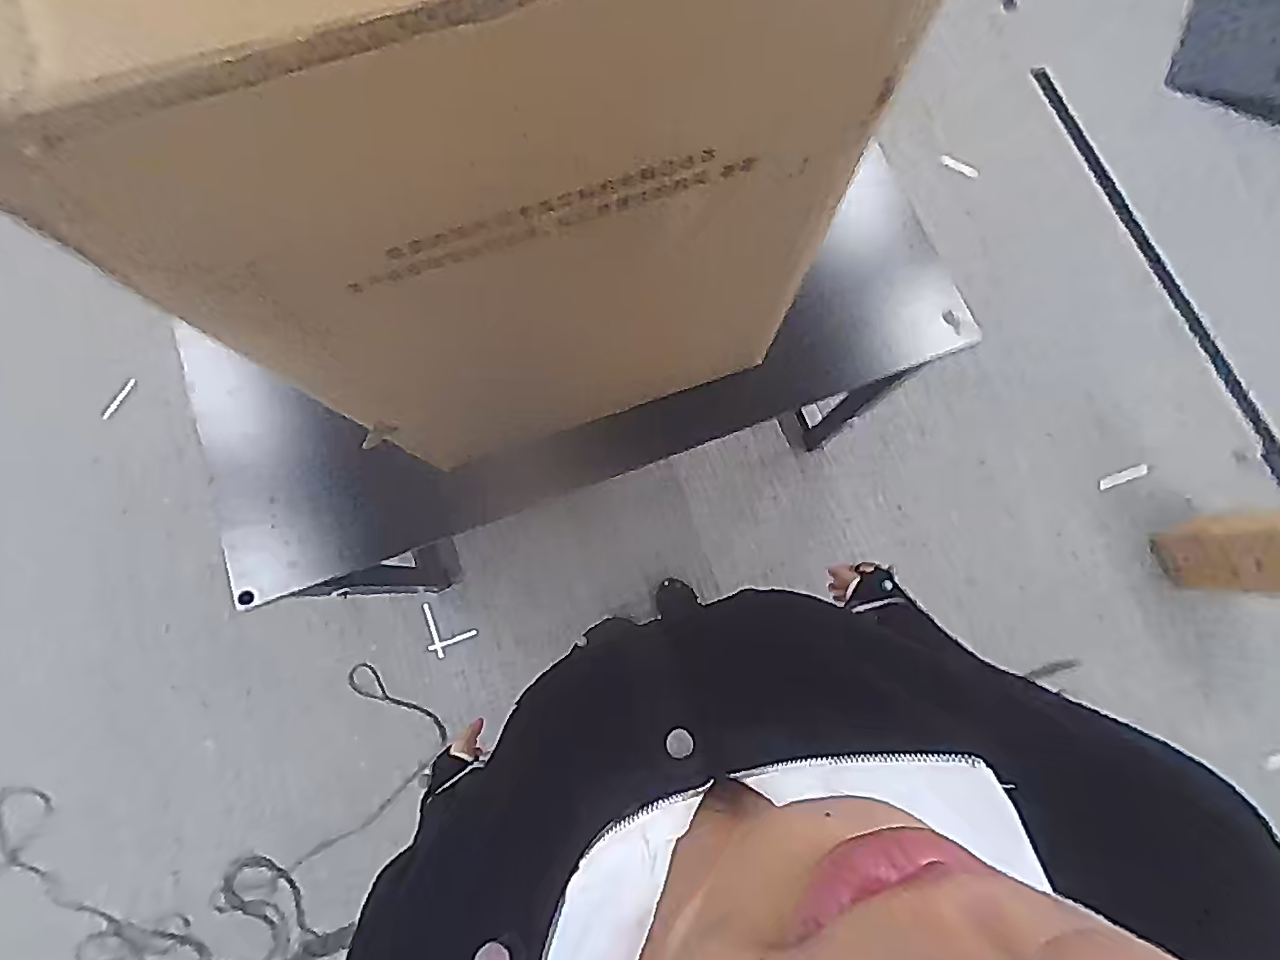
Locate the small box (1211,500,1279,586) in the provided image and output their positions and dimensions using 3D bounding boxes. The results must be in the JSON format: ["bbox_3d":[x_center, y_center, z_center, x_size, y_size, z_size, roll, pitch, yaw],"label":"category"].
[{"bbox_3d":[1.518,0.145,1.269,0.179,0.176,0.168,-22,79,-3],"label":"small box"}]

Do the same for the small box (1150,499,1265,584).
[{"bbox_3d":[1.533,0.166,1.432,0.179,0.176,0.168,-23,79,-3],"label":"small box"}]
